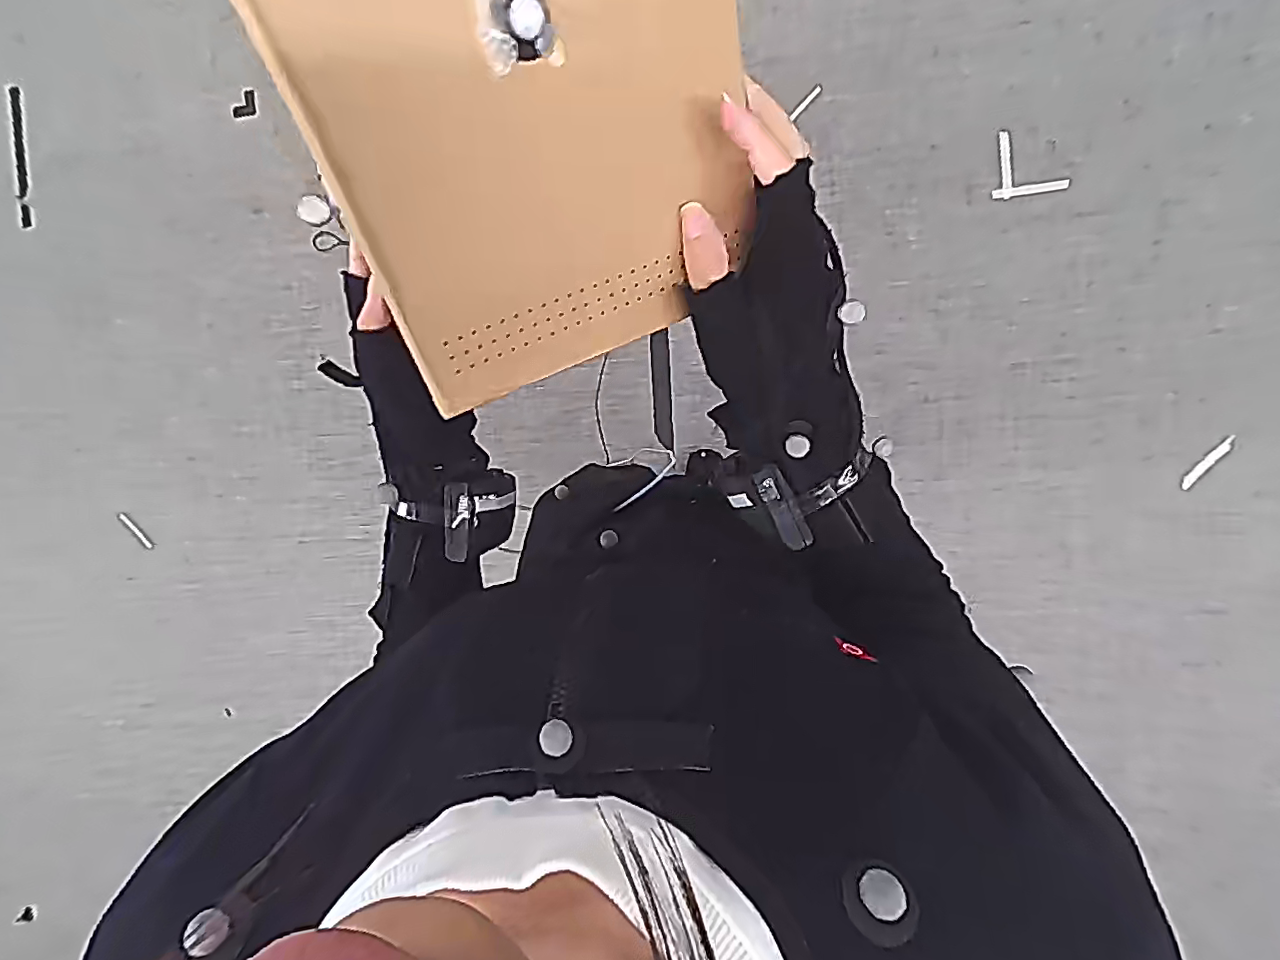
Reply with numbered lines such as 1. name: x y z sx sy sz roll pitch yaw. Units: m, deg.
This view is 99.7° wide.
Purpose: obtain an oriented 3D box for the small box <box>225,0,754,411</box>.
1. small box: -0.060 -0.159 0.281 0.179 0.168 0.176 -25 127 -12
